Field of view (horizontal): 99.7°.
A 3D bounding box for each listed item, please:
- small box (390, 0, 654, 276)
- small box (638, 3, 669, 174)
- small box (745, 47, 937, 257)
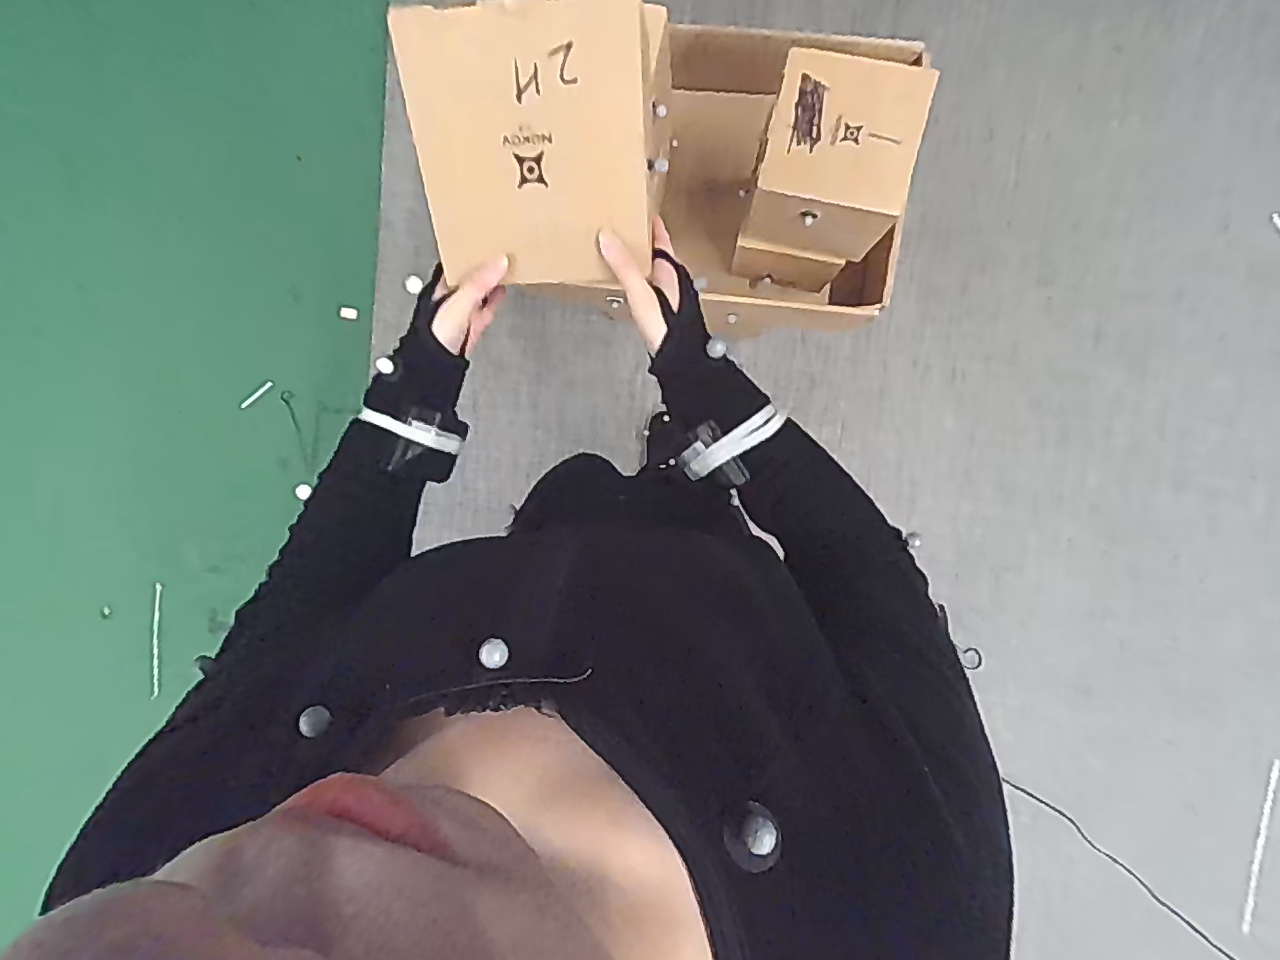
[{"bbox_3d":[-0.075,-0.280,0.456,0.168,0.176,0.179,-1,119,4],"label":"small box"},{"bbox_3d":[-0.058,-0.500,0.731,0.168,0.176,0.179,13,96,4],"label":"small box"},{"bbox_3d":[0.245,-0.412,0.709,0.179,0.176,0.168,14,96,4],"label":"small box"}]
